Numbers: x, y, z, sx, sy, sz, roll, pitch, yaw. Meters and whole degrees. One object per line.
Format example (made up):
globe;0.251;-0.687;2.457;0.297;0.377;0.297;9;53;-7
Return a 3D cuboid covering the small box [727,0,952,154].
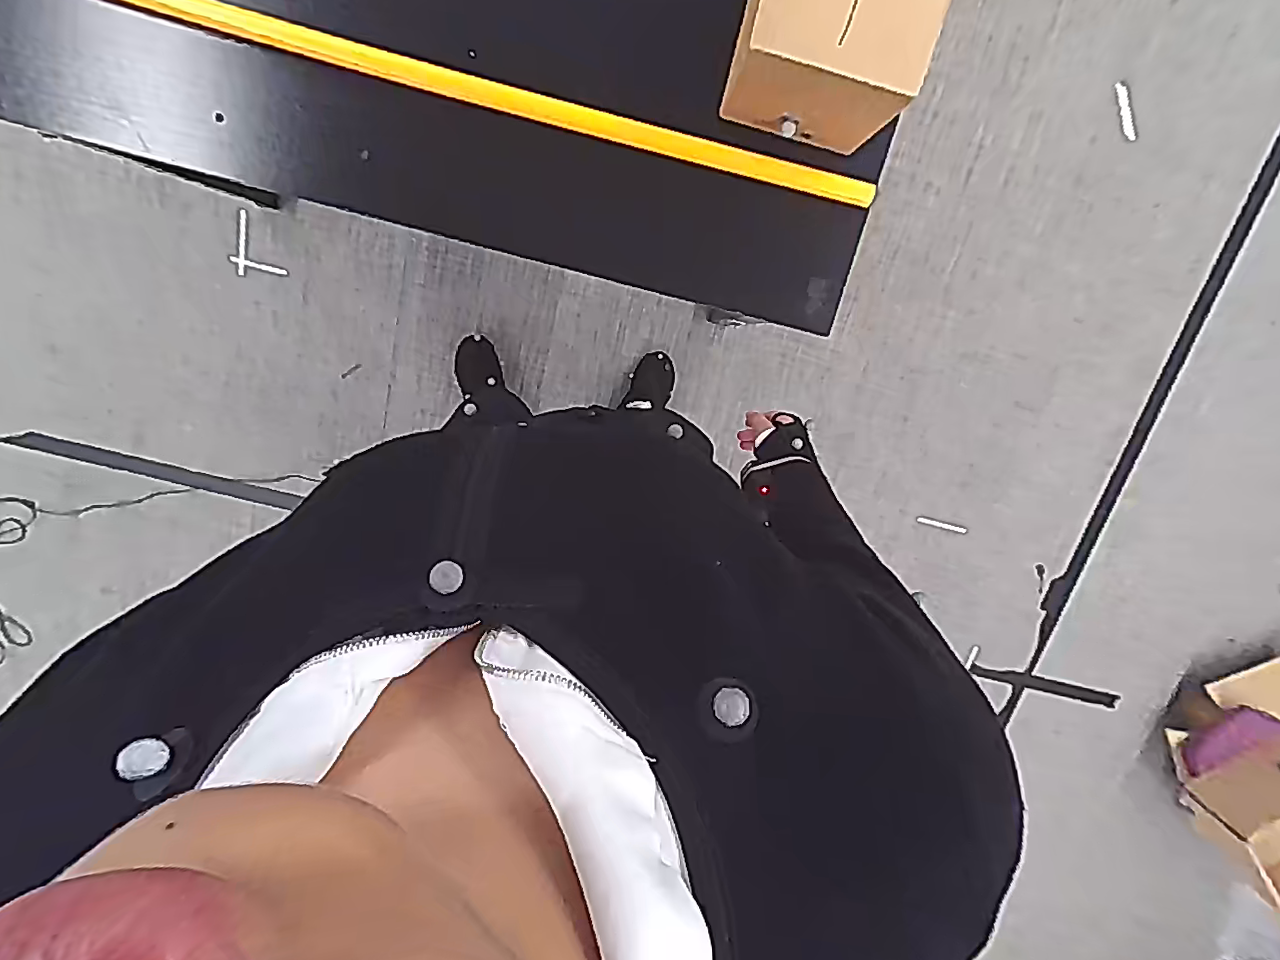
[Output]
small box;0.198;-0.471;0.550;0.168;0.176;0.179;14;105;-5
